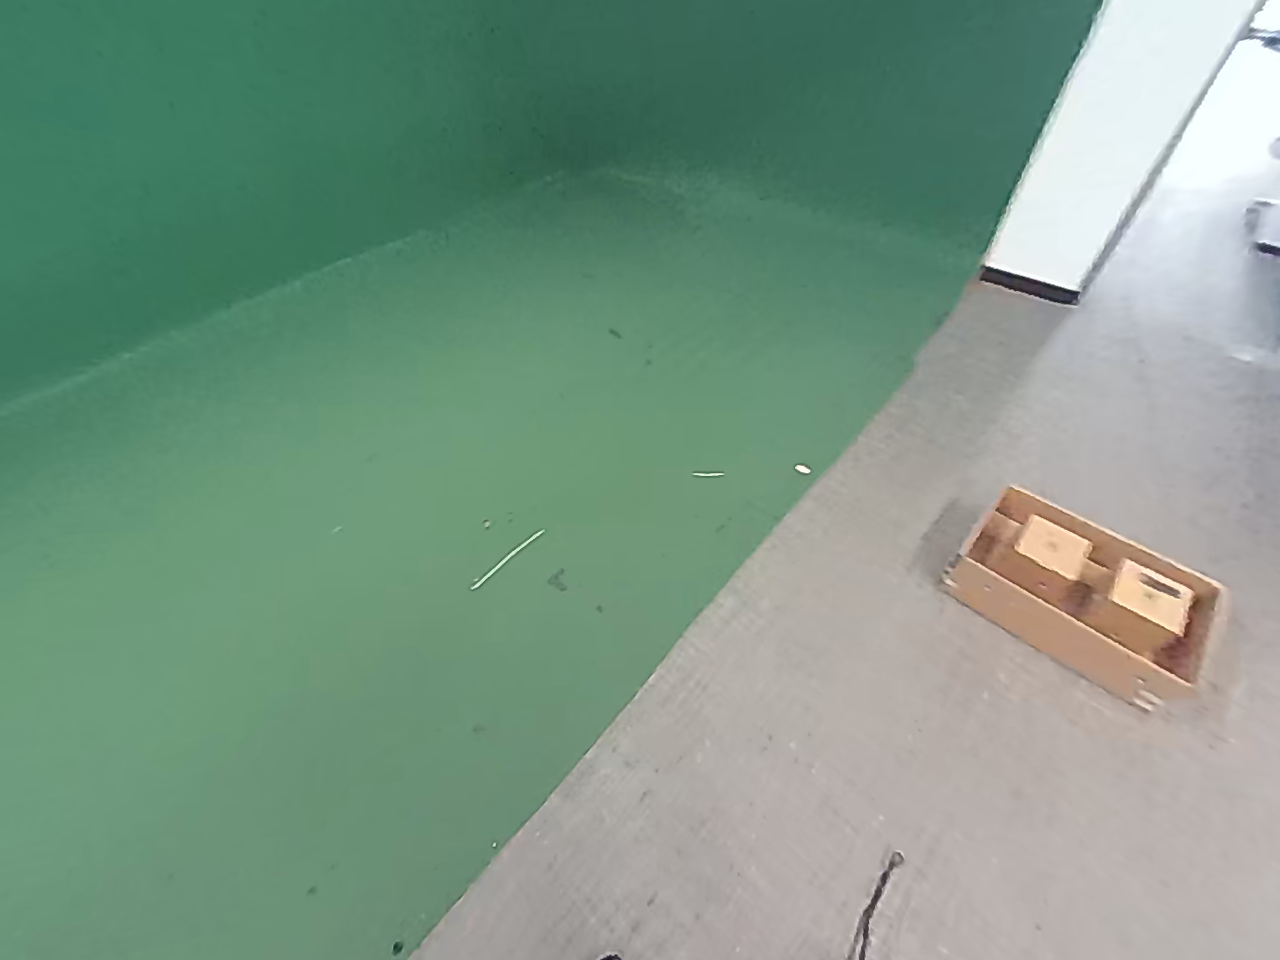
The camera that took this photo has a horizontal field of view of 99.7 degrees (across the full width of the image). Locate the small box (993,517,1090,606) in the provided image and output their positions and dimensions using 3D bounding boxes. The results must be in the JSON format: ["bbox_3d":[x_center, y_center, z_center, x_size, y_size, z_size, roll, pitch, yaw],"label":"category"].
[{"bbox_3d":[1.236,0.257,1.678,0.168,0.176,0.179,34,58,25],"label":"small box"}]
